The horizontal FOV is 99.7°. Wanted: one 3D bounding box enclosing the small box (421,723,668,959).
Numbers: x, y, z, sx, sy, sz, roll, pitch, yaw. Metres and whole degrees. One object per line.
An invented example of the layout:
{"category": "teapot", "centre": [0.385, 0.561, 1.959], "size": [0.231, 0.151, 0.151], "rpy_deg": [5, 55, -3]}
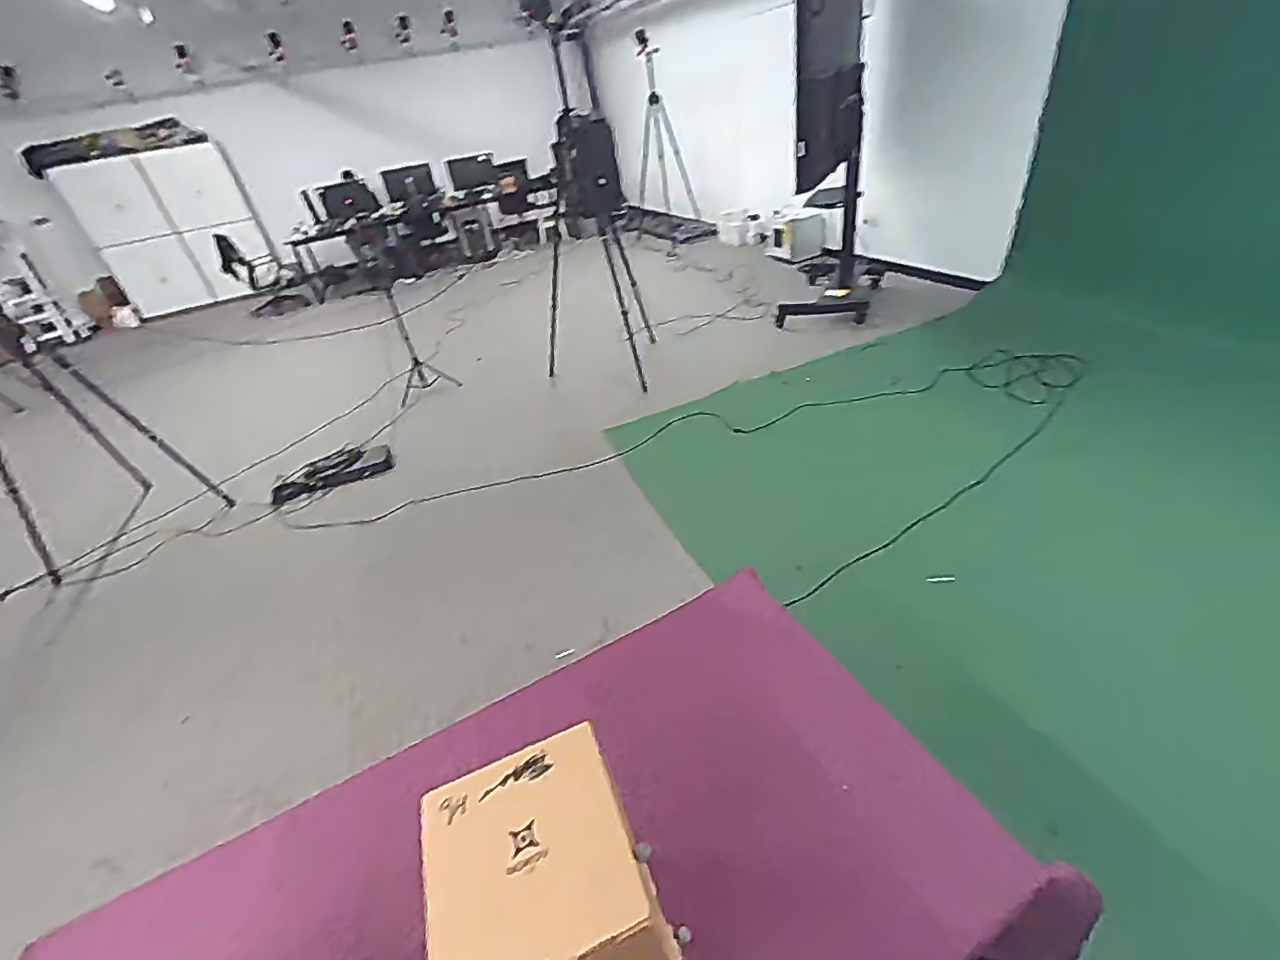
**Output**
{"category": "small box", "centre": [-0.085, 0.371, 0.496], "size": [0.168, 0.176, 0.179], "rpy_deg": [-20, 37, -12]}
